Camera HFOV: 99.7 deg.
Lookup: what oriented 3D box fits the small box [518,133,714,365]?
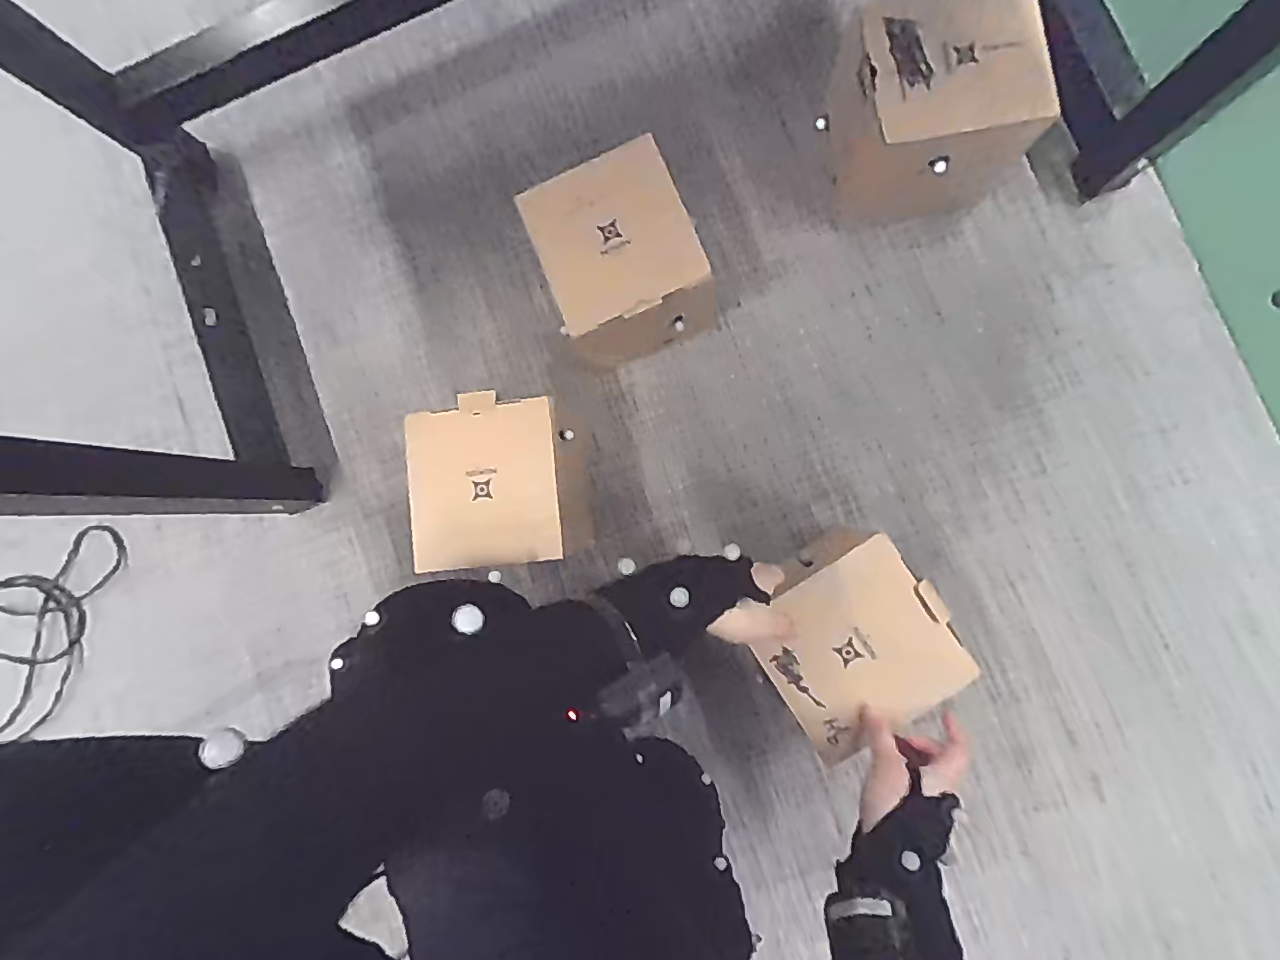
[{"bbox_3d":[-0.018,-0.254,0.649,0.168,0.176,0.179,-23,84,4],"label":"small box"}]

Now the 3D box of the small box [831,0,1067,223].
[{"bbox_3d":[0.331,-0.422,0.621,0.179,0.176,0.168,-8,86,4],"label":"small box"}]

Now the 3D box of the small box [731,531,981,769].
[{"bbox_3d":[0.218,0.169,0.602,0.179,0.176,0.168,-33,85,4],"label":"small box"}]
